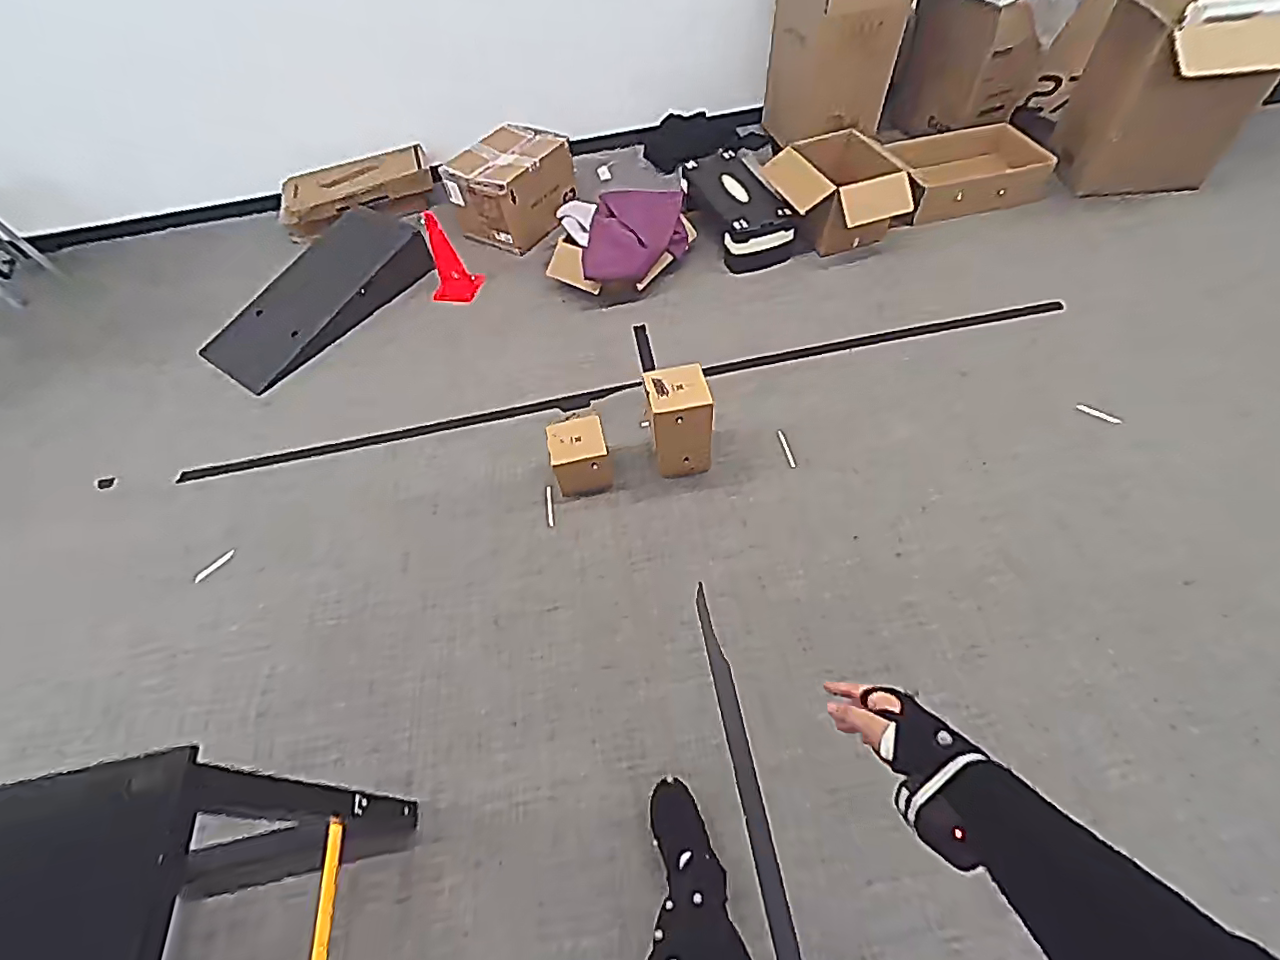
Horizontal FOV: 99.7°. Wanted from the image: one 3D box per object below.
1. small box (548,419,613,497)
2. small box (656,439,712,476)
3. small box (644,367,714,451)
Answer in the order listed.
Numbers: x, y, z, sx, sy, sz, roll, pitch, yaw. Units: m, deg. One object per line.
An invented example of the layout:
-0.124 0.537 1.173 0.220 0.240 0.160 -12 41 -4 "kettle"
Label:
-0.186 -0.069 1.744 0.179 0.176 0.168 -13 54 -2 "small box"
0.136 -0.127 1.751 0.168 0.176 0.179 -9 56 -1 "small box"
0.115 -0.206 1.606 0.179 0.176 0.168 -11 55 -2 "small box"
